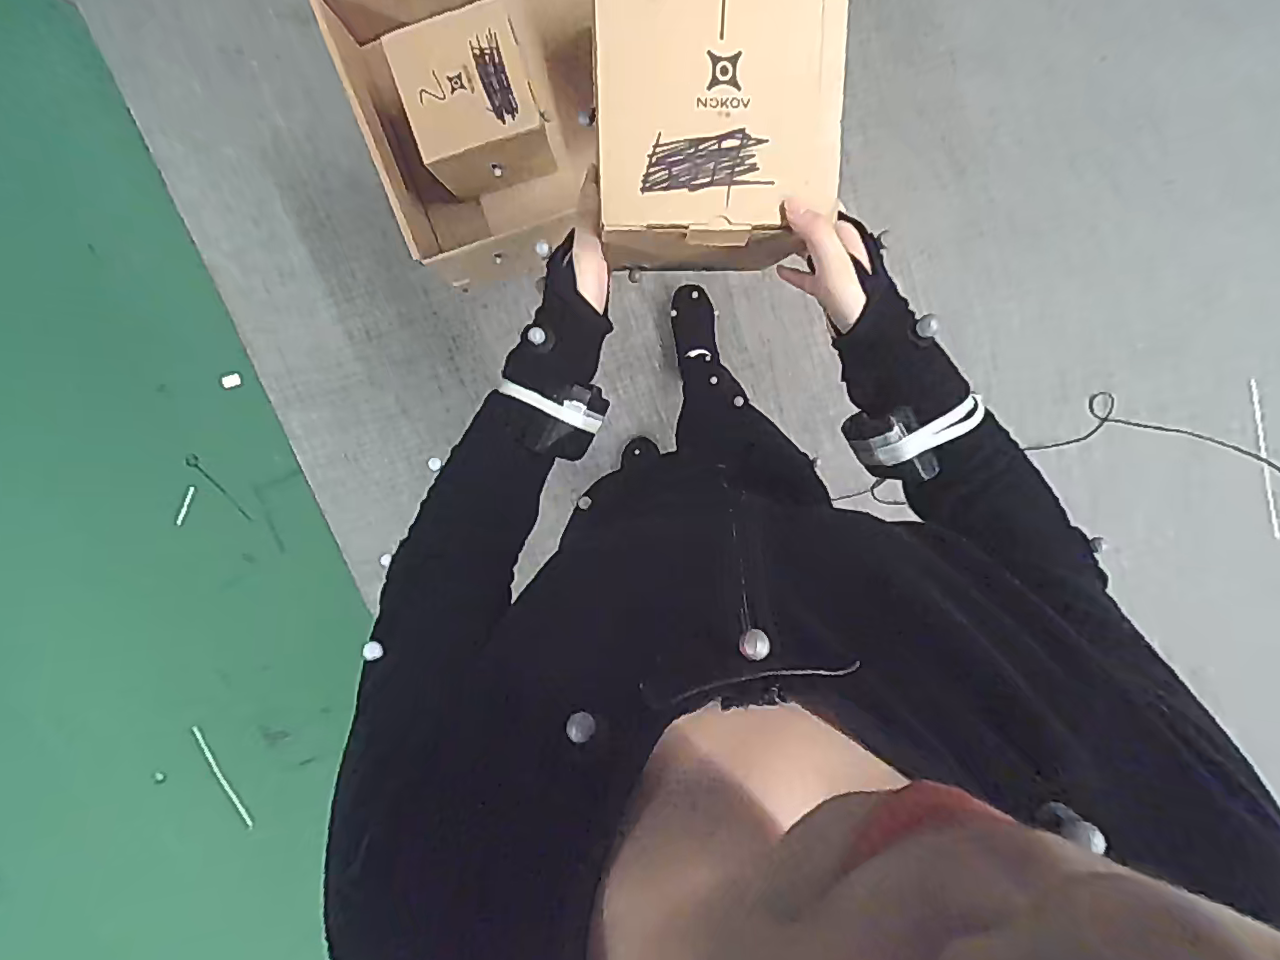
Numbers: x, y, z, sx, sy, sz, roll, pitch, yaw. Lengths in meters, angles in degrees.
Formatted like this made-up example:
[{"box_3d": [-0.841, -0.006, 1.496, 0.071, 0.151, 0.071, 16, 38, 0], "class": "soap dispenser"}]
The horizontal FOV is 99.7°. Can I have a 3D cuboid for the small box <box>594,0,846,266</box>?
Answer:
[{"box_3d": [0.048, -0.278, 0.437, 0.168, 0.176, 0.179, -2, 101, -5], "class": "small box"}]
